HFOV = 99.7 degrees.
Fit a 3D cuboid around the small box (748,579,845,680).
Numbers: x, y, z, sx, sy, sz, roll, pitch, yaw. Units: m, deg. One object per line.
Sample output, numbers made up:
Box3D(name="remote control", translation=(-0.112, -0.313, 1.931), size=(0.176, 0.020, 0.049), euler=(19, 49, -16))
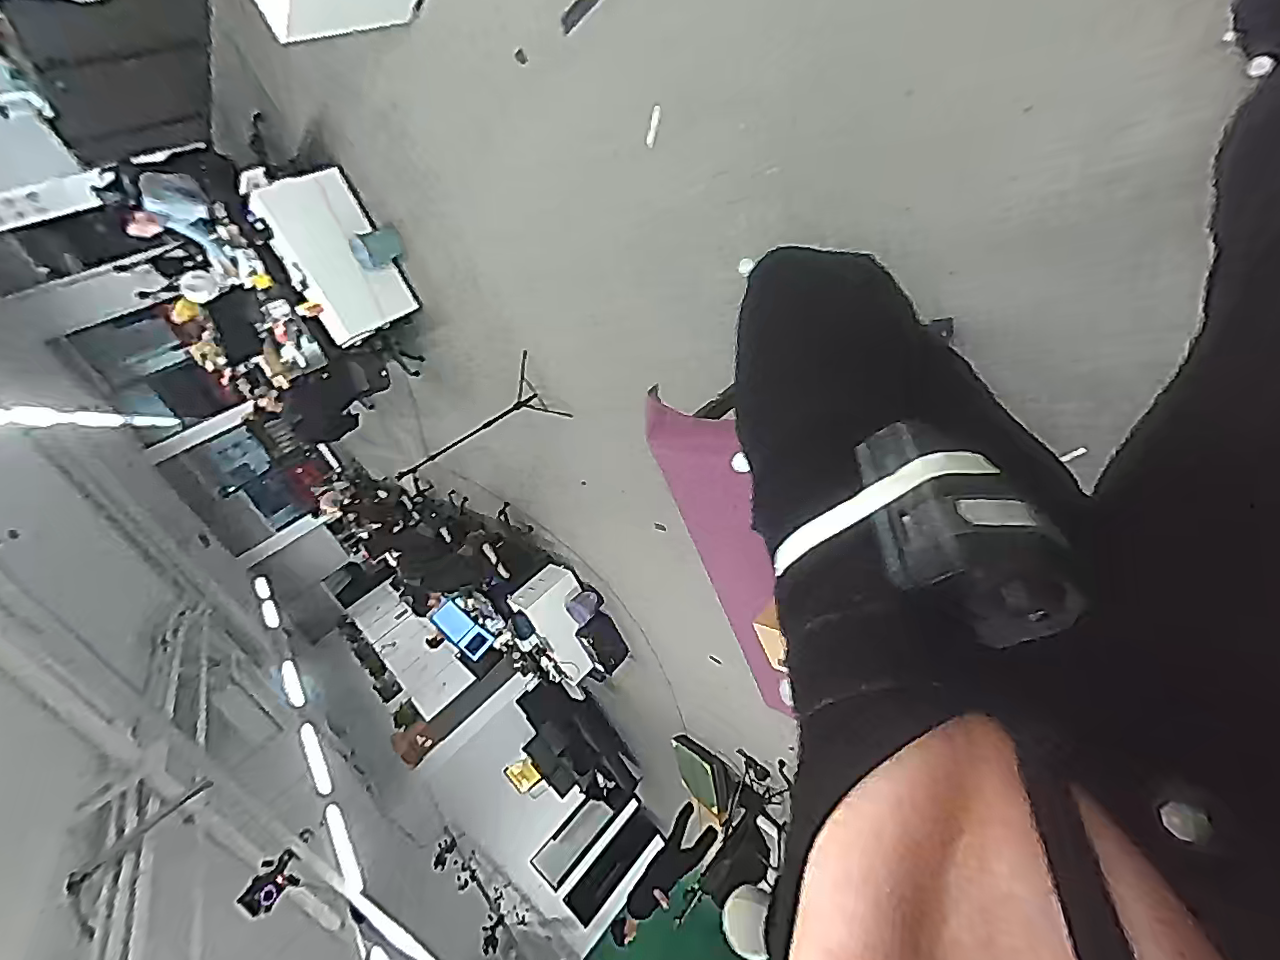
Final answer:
Box3D(name="small box", translation=(0.433, 0.402, 1.479), size=(0.168, 0.176, 0.179), euler=(3, 126, 53))
